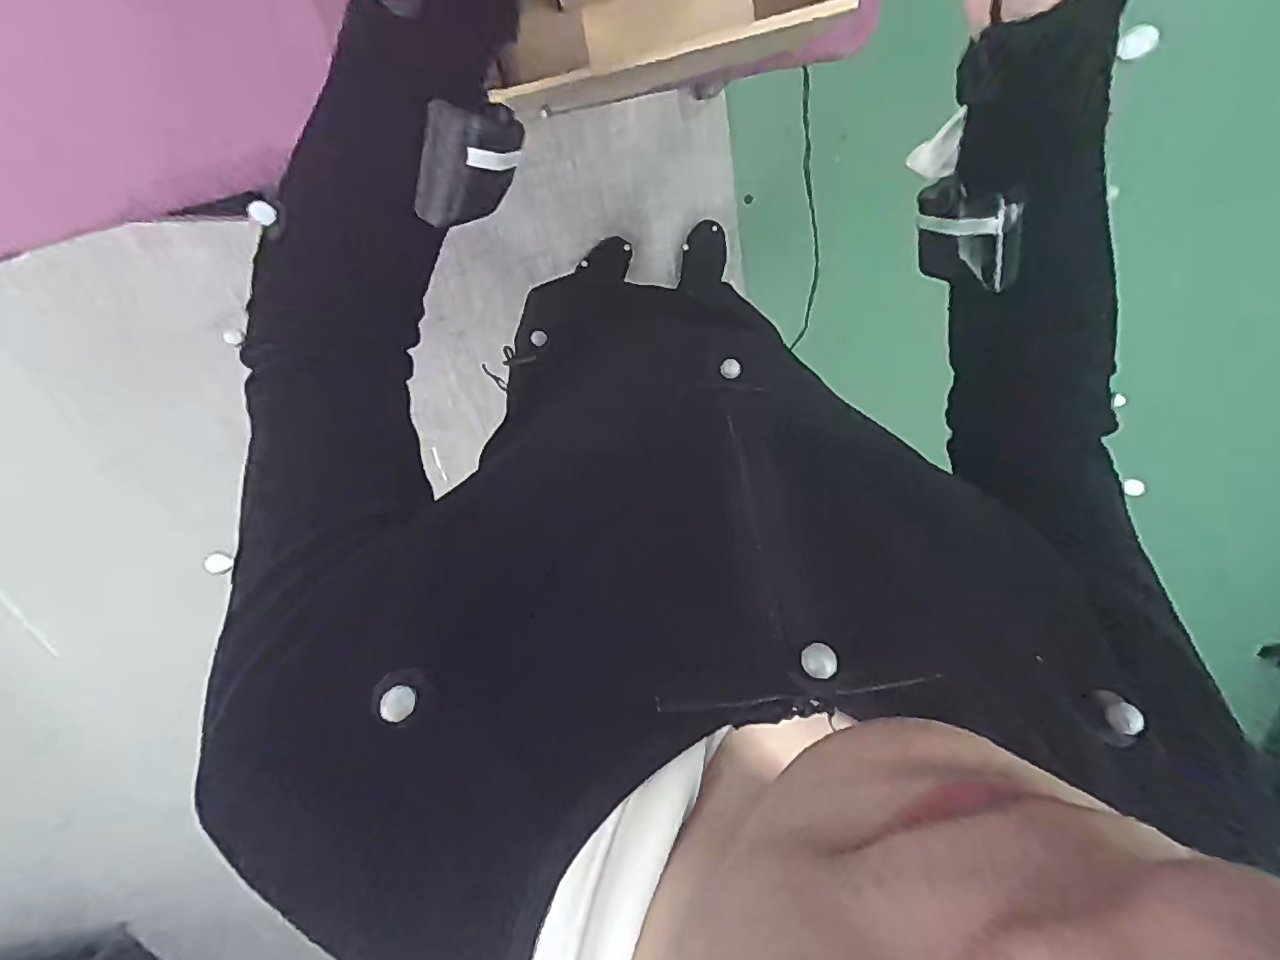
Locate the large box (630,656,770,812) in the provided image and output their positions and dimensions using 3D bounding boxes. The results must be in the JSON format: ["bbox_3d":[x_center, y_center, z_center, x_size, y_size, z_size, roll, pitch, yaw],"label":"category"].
[{"bbox_3d":[0.212,0.963,2.063,0.408,0.320,0.320,-42,113,13],"label":"large box"}]
